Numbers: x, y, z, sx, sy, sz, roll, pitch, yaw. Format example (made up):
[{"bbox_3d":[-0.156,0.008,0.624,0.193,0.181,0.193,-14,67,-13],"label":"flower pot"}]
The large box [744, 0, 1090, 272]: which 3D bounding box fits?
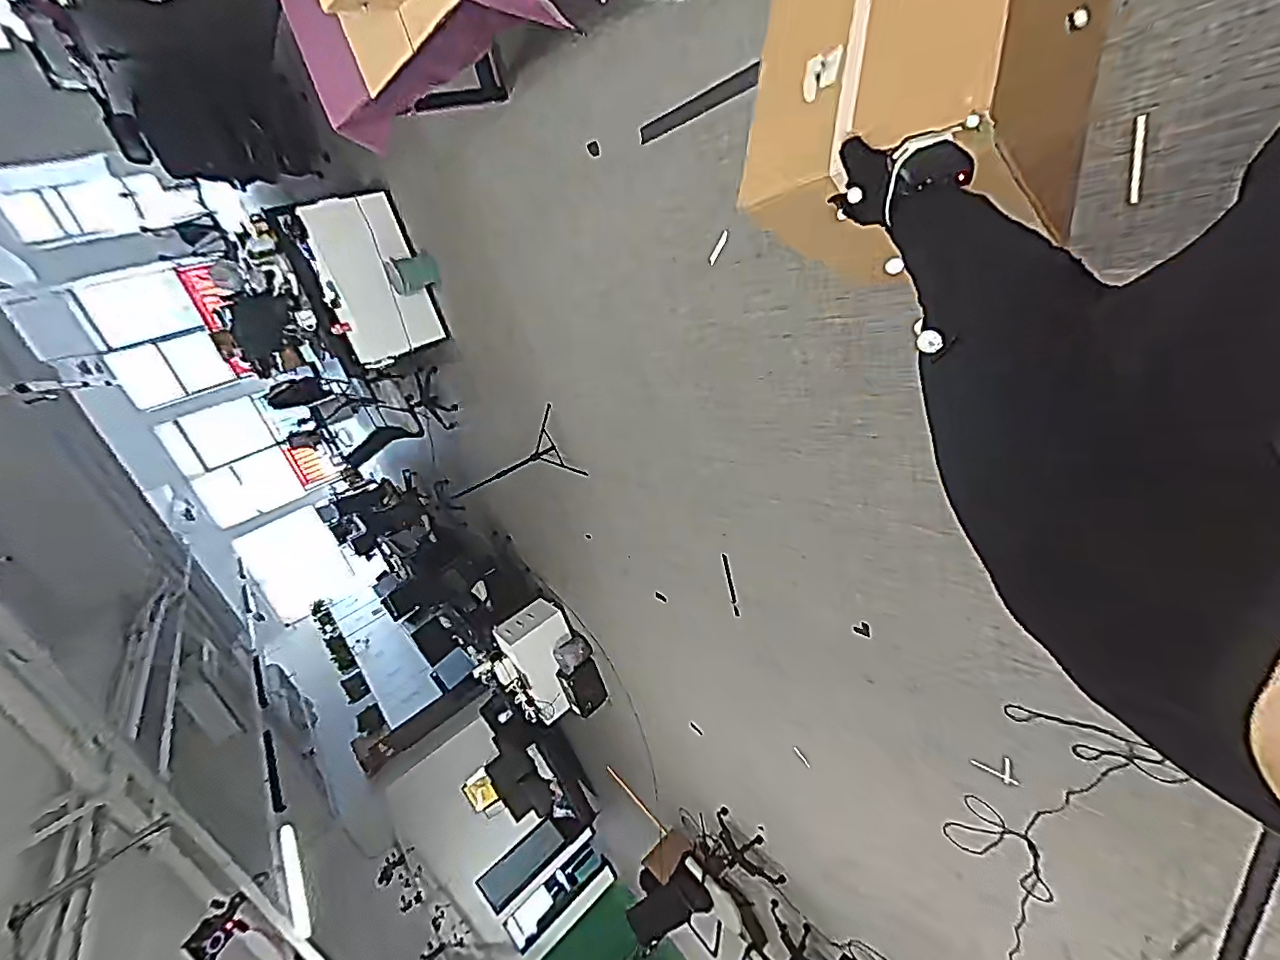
[{"bbox_3d":[0.379,-0.556,0.741,0.320,0.320,0.408,10,94,51],"label":"large box"}]
